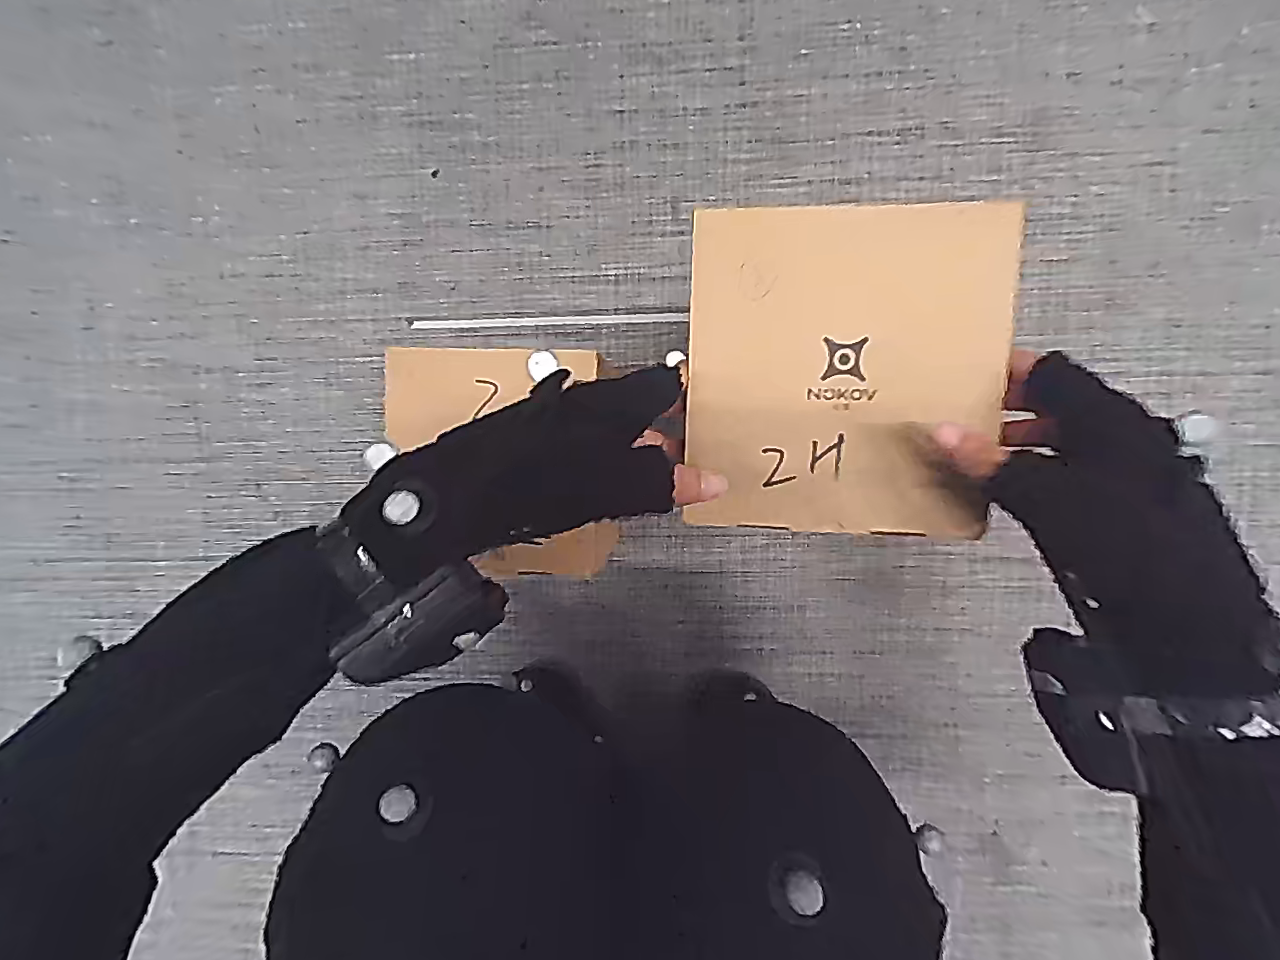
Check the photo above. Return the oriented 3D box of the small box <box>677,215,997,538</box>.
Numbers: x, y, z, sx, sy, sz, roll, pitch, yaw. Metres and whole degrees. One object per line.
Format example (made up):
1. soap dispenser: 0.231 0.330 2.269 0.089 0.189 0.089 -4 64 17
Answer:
1. small box: 0.114 -0.065 0.382 0.168 0.176 0.179 3 97 7
